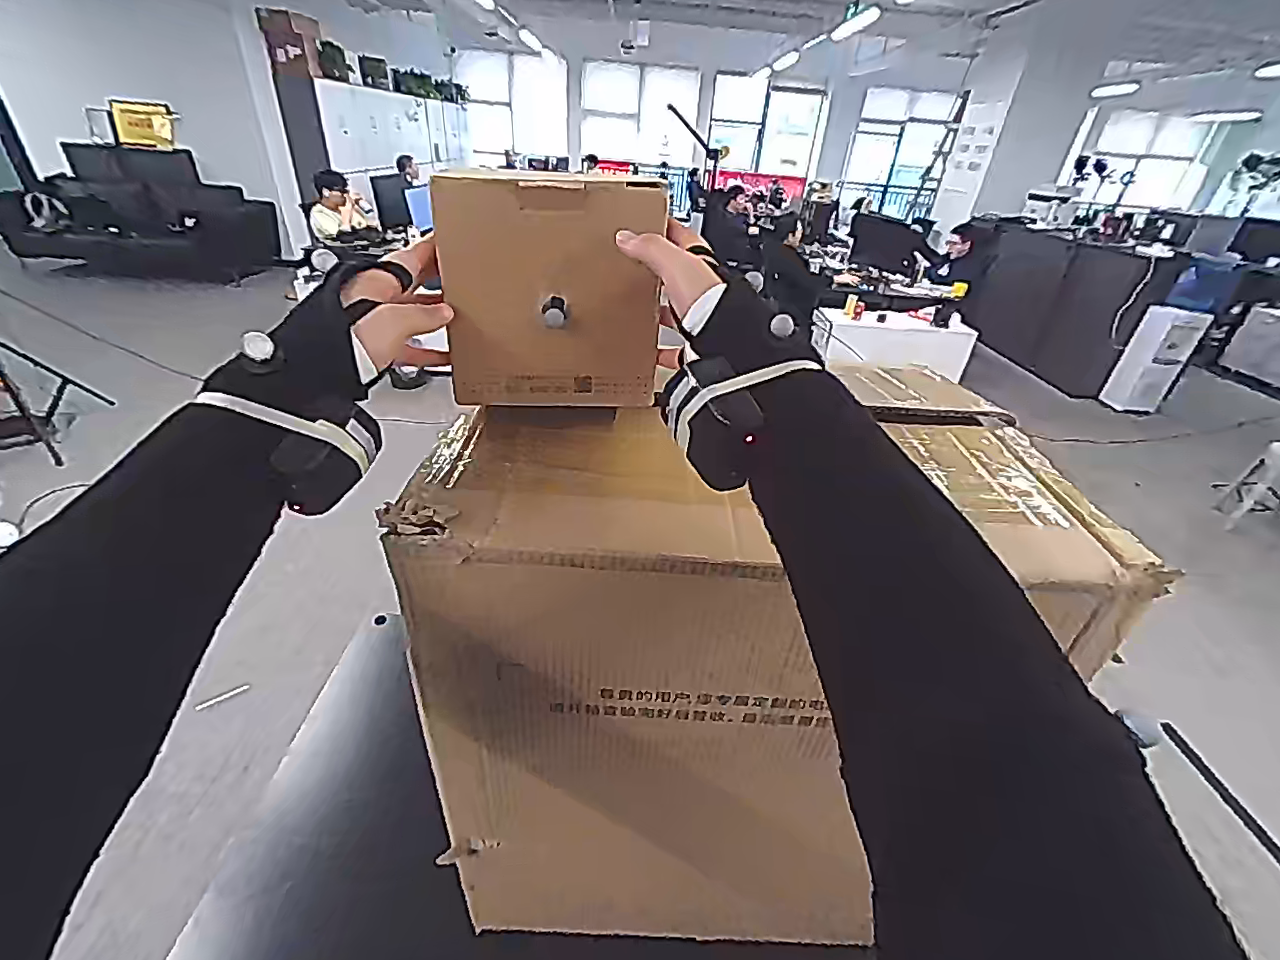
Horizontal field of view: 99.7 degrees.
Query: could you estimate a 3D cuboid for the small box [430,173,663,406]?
[{"bbox_3d":[-0.074,-0.173,0.486,0.168,0.176,0.179,0,31,-7],"label":"small box"}]
